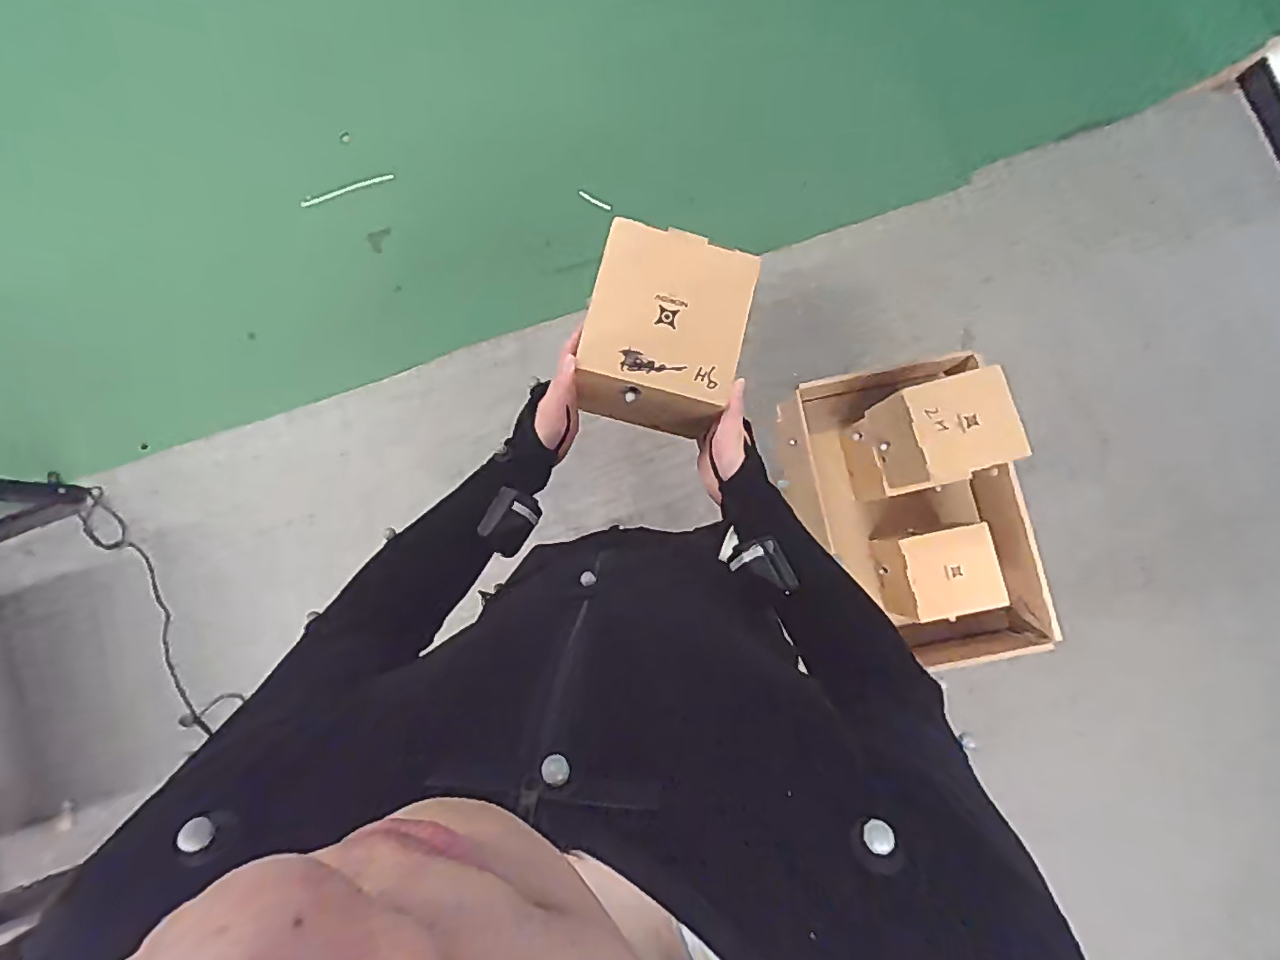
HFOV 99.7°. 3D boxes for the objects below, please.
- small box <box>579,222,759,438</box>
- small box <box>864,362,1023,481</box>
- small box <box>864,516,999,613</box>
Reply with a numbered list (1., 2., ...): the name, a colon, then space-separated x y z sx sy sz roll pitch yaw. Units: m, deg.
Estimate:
1. small box: 0.024 -0.165 0.650 0.168 0.176 0.179 14 82 -4
2. small box: 0.549 -0.099 1.002 0.179 0.176 0.168 -15 85 0
3. small box: 0.607 0.172 1.147 0.179 0.176 0.168 -12 86 1
